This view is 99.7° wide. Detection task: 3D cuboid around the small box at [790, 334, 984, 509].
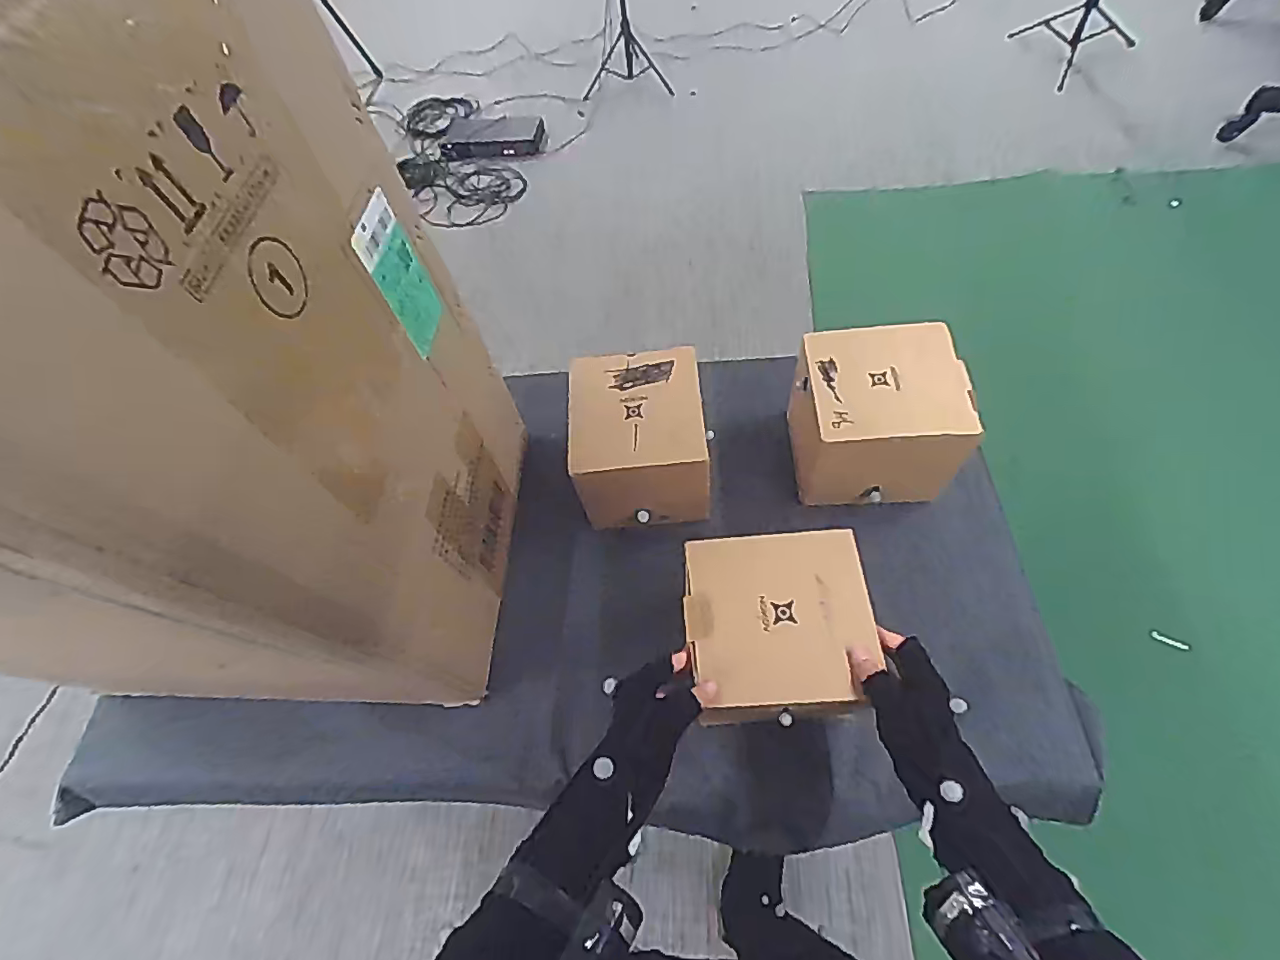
[{"bbox_3d":[0.307,-0.071,0.715,0.179,0.176,0.168,-2,60,6],"label":"small box"}]
